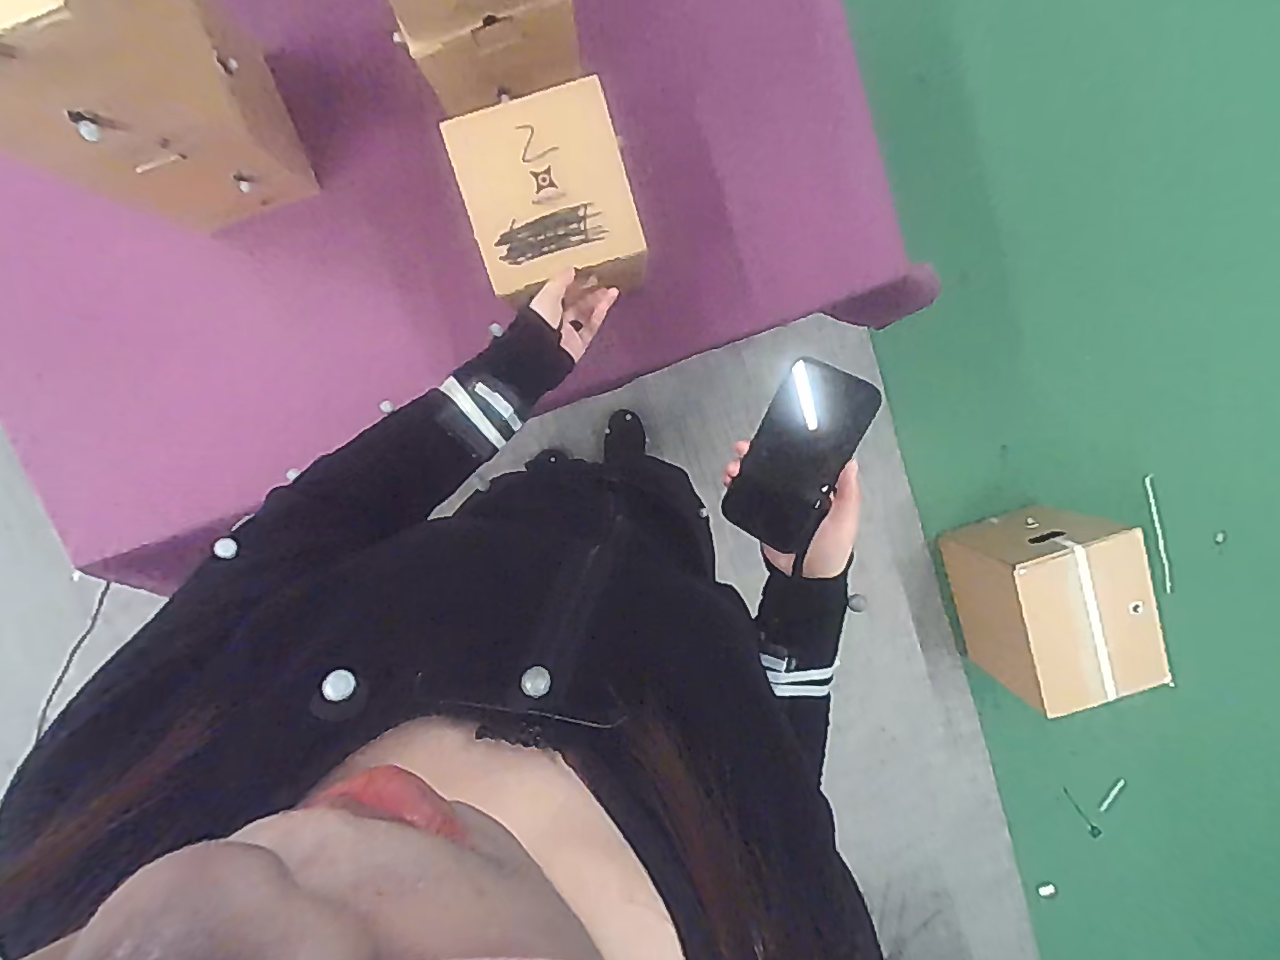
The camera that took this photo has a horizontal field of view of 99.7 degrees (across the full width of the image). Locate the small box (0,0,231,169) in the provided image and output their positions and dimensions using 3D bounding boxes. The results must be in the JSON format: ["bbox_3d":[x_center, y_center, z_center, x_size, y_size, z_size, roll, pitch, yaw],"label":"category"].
[{"bbox_3d":[-0.487,-0.380,0.434,0.168,0.176,0.179,-19,100,0],"label":"small box"}]

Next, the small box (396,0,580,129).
[{"bbox_3d":[-0.174,-0.532,0.586,0.168,0.176,0.179,-21,100,1],"label":"small box"}]

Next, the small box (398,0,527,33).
[{"bbox_3d":[-0.164,-0.515,0.422,0.168,0.176,0.179,-19,100,2],"label":"small box"}]
